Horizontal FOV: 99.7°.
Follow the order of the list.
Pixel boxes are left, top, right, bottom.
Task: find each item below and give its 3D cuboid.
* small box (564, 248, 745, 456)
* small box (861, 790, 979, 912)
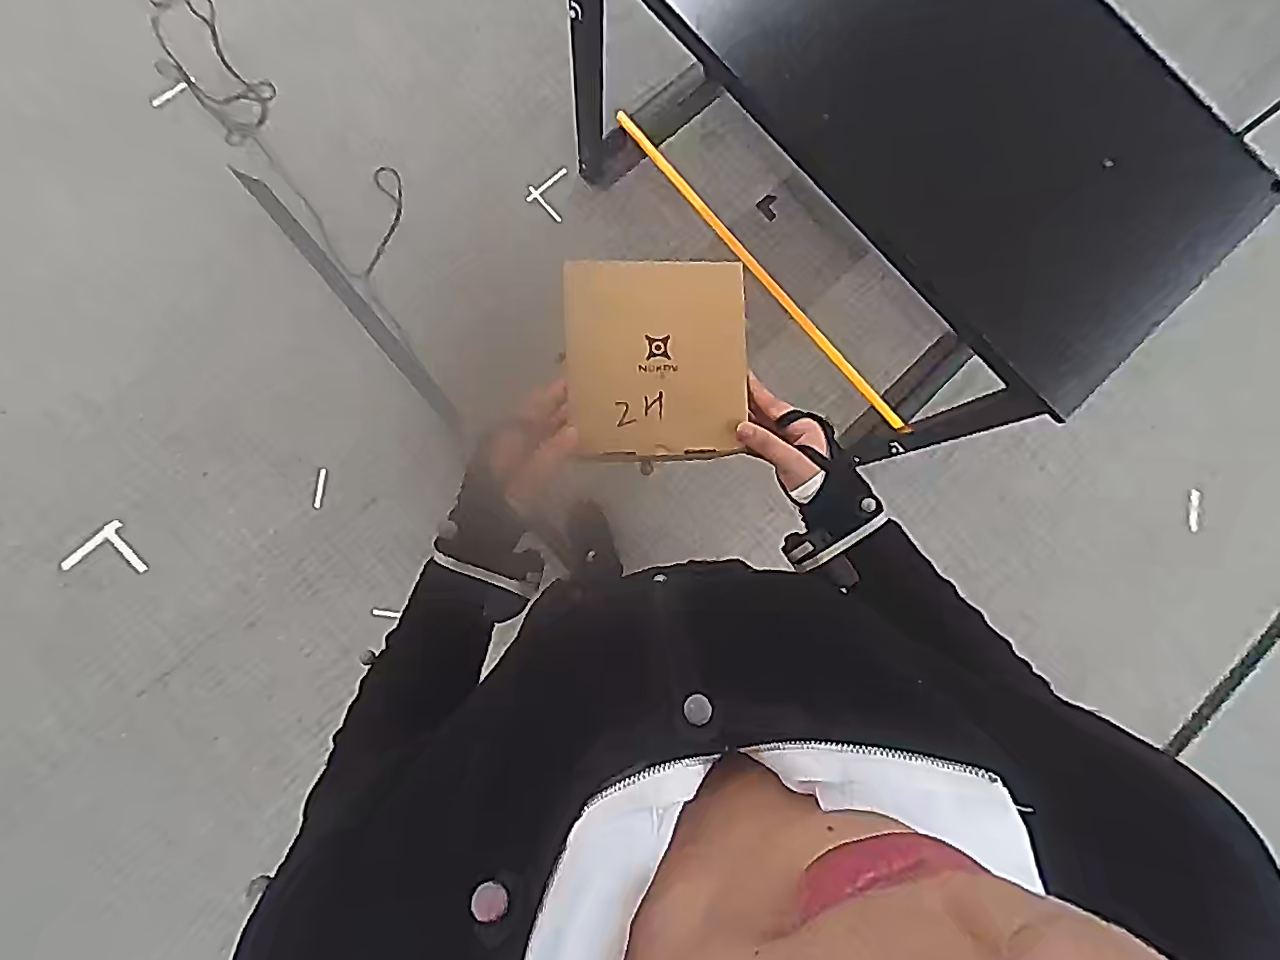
[{"bbox_3d":[0.005,-0.119,0.564,0.168,0.176,0.179,-1,90,-5],"label":"small box"},{"bbox_3d":[0.711,0.940,1.397,0.179,0.176,0.168,42,83,1],"label":"small box"}]
